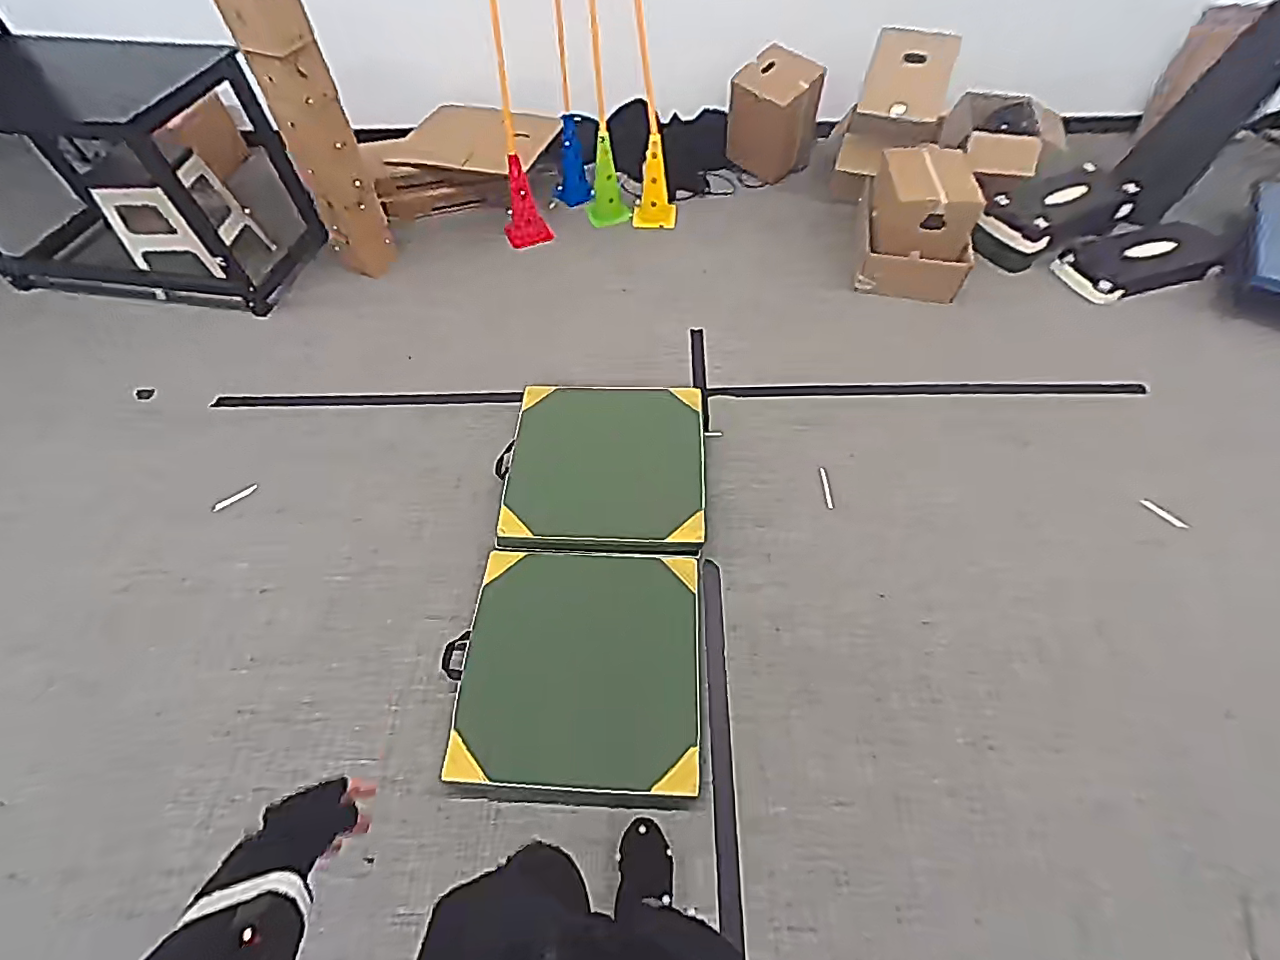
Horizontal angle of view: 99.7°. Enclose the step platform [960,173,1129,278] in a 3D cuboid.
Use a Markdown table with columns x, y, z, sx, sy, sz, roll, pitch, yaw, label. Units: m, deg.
| x | y | z | sx | sy | sz | roll | pitch | yaw | label |
| --- | --- | --- | --- | --- | --- | --- | --- | --- | --- |
| 1.792 | -1.136 | 2.397 | 0.684 | 0.204 | 0.286 | -24 | 59 | -15 | step platform |
